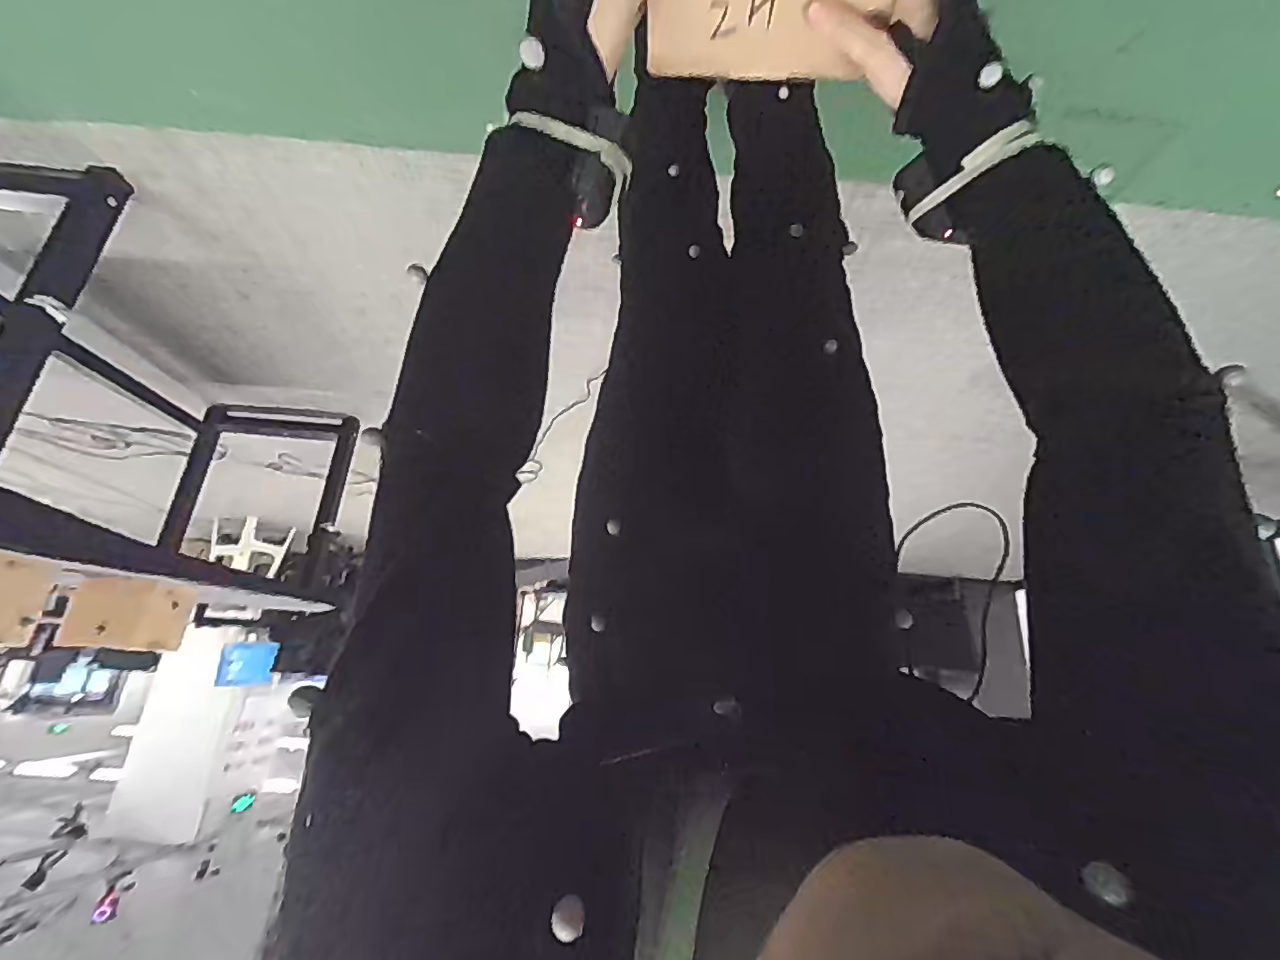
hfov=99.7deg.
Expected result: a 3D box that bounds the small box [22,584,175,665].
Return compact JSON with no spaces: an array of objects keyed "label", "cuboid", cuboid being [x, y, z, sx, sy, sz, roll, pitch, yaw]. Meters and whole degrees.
[{"label":"small box","cuboid":[-1.294,0.351,1.309,0.179,0.176,0.168,4,160,-4]}]

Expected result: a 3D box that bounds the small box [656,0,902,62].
[{"label":"small box","cuboid":[0.097,-0.417,0.350,0.168,0.176,0.179,3,155,1]}]
